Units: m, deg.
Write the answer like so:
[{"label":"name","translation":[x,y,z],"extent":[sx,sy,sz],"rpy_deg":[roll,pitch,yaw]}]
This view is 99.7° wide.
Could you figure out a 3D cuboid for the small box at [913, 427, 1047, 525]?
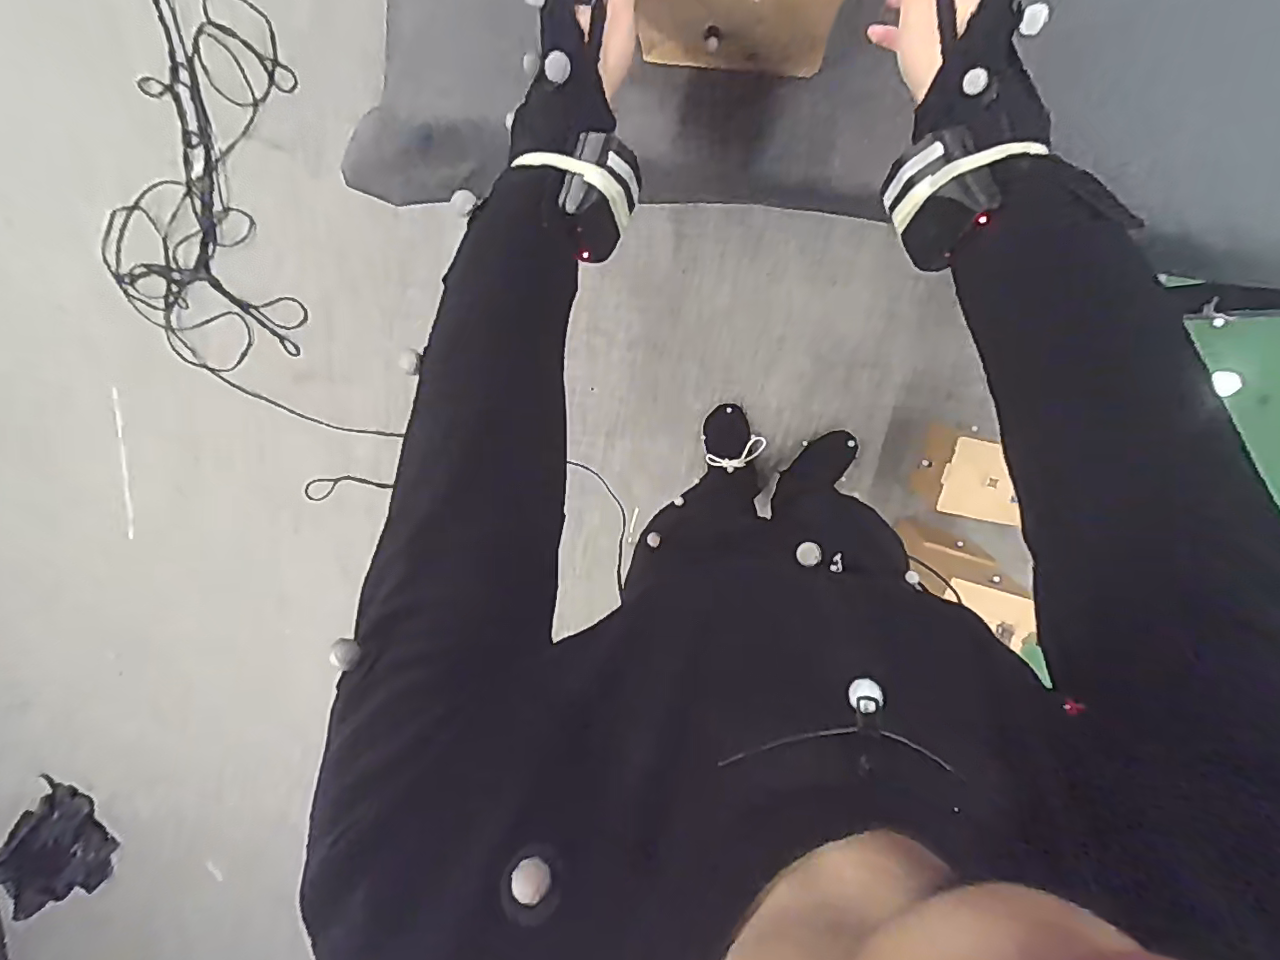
[{"label":"small box","translation":[0.734,-0.016,1.192],"extent":[0.179,0.176,0.168],"rpy_deg":[11,104,5]}]

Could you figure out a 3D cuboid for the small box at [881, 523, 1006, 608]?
[{"label":"small box","translation":[0.693,0.216,1.258],"extent":[0.179,0.176,0.168],"rpy_deg":[17,105,5]}]

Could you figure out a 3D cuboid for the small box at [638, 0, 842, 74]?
[{"label":"small box","translation":[0.084,-0.457,0.414],"extent":[0.168,0.176,0.179],"rpy_deg":[9,106,5]}]

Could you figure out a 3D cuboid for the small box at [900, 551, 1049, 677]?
[{"label":"small box","translation":[0.667,0.262,1.102],"extent":[0.179,0.176,0.168],"rpy_deg":[16,105,5]}]
